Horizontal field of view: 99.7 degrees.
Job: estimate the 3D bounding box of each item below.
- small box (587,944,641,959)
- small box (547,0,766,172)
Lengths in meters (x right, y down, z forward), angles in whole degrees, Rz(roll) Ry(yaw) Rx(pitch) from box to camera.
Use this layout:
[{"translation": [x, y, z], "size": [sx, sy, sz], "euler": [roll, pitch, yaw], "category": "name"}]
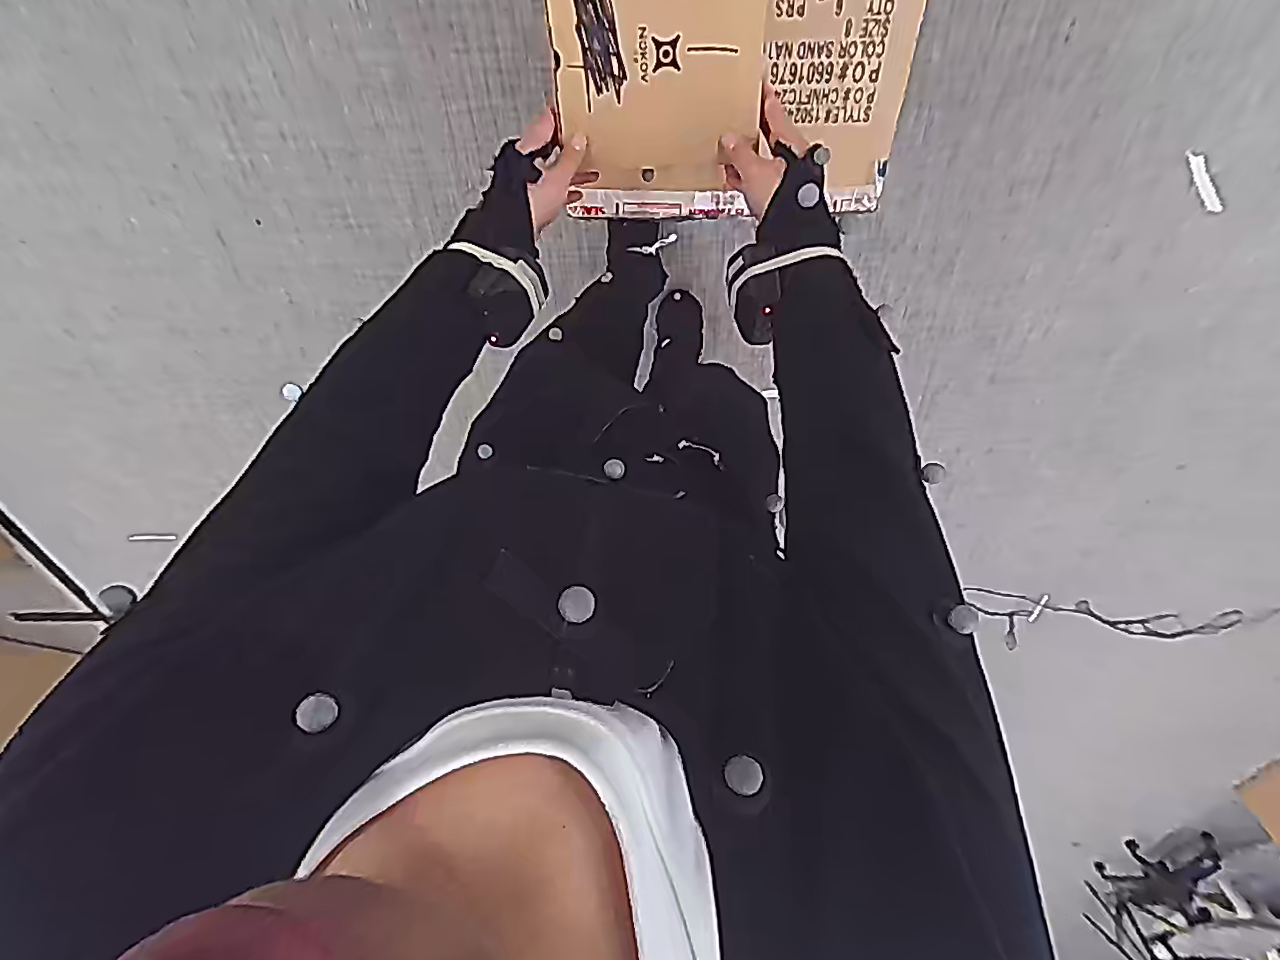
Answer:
[{"translation": [-0.089, 1.694, 1.823], "size": [0.179, 0.176, 0.168], "euler": [-4, 128, 3], "category": "small box"}, {"translation": [0.020, -0.392, 0.512], "size": [0.179, 0.176, 0.168], "euler": [0, 124, 4], "category": "small box"}]
